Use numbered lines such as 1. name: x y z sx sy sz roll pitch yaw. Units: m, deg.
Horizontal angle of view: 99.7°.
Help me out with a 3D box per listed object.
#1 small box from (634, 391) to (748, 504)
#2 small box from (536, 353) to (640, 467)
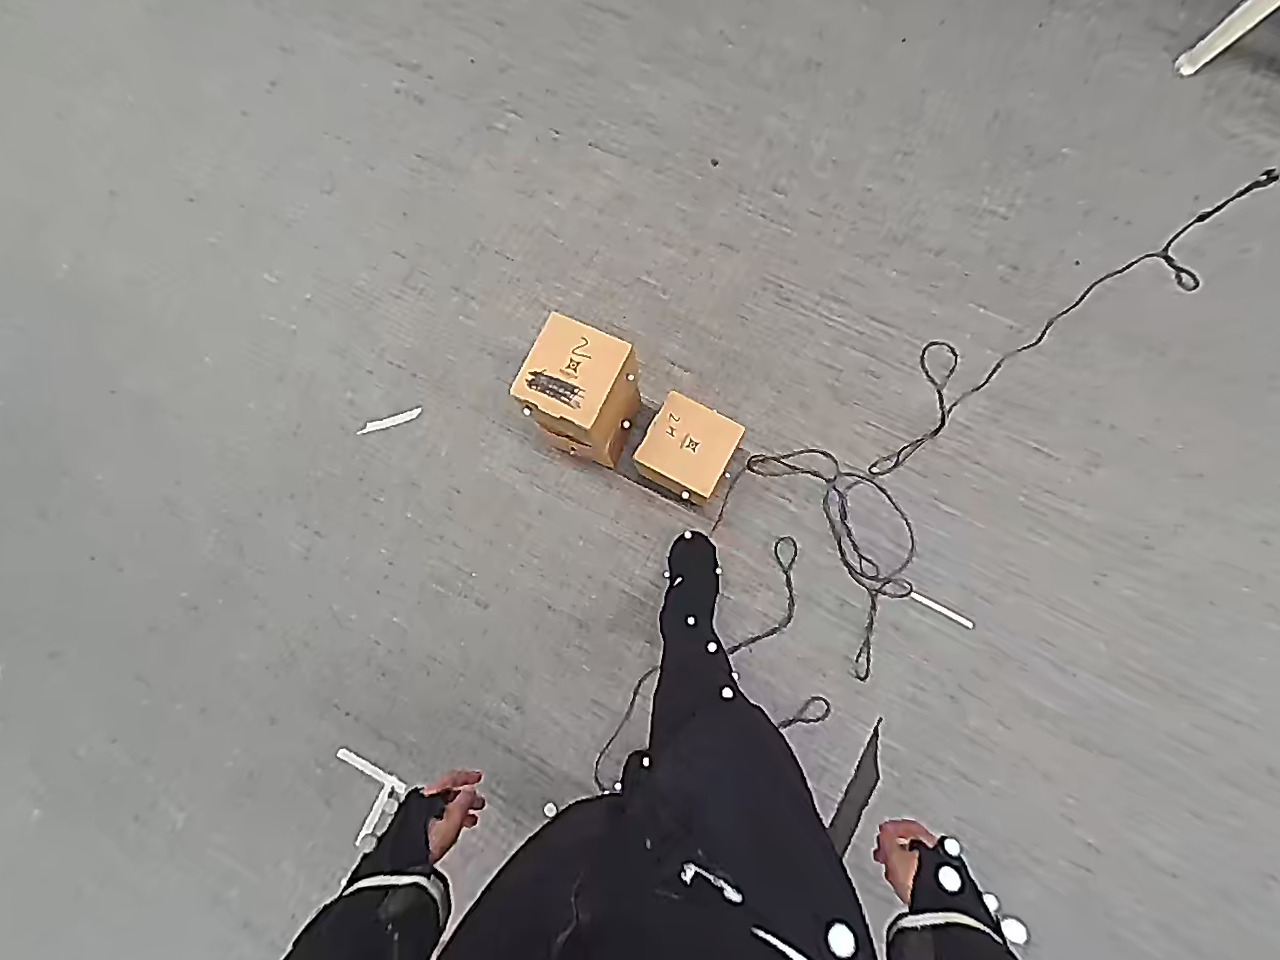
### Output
1. small box: 0.108 -0.059 1.155 0.179 0.176 0.168 28 83 9
2. small box: -0.105 -0.147 1.192 0.168 0.176 0.179 20 83 8
